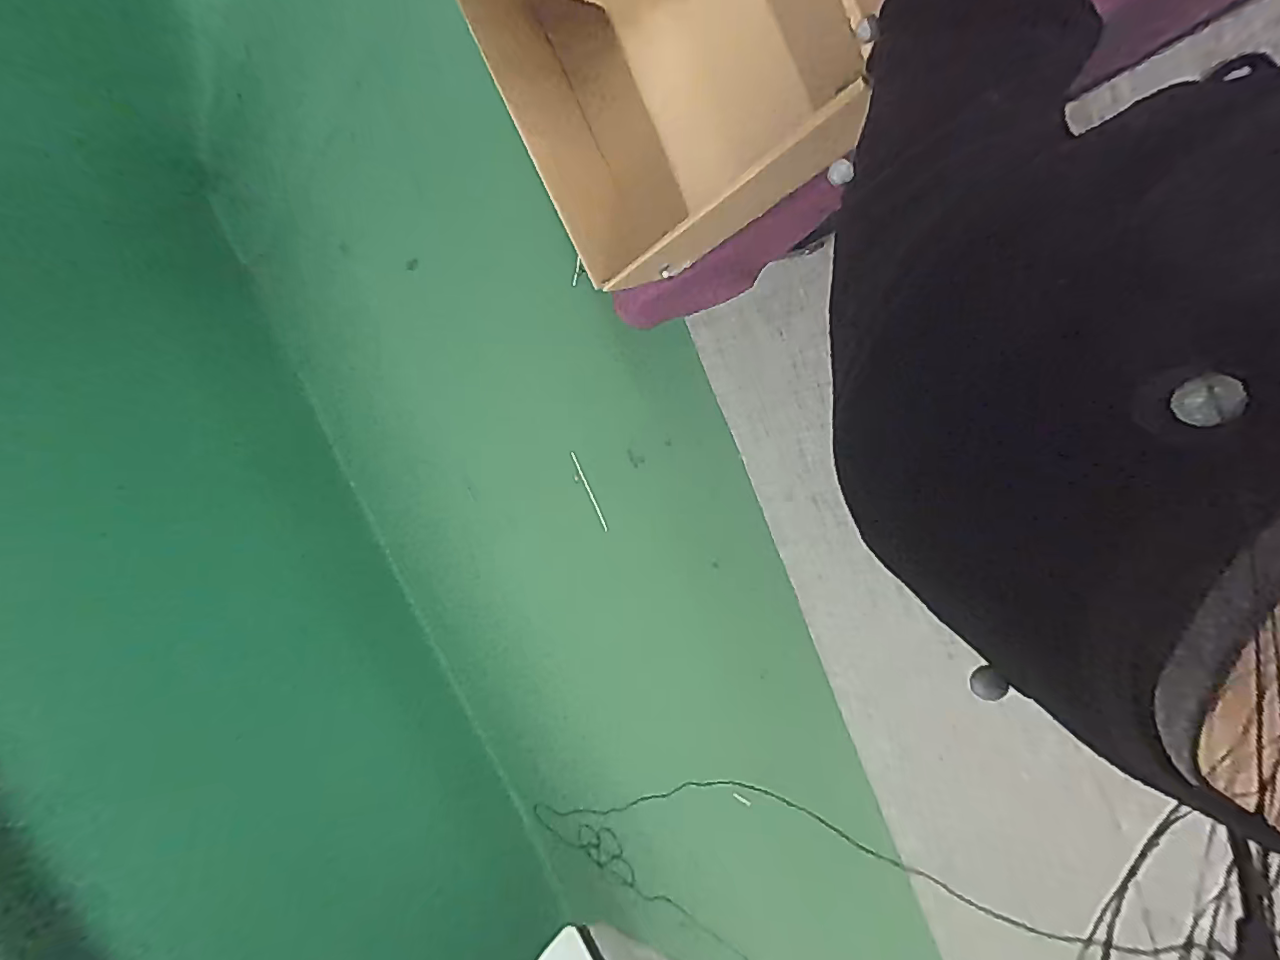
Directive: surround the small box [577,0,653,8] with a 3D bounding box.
[{"bbox_3d":[-0.028,-0.663,0.583,0.168,0.176,0.179,-23,97,46],"label":"small box"}]
